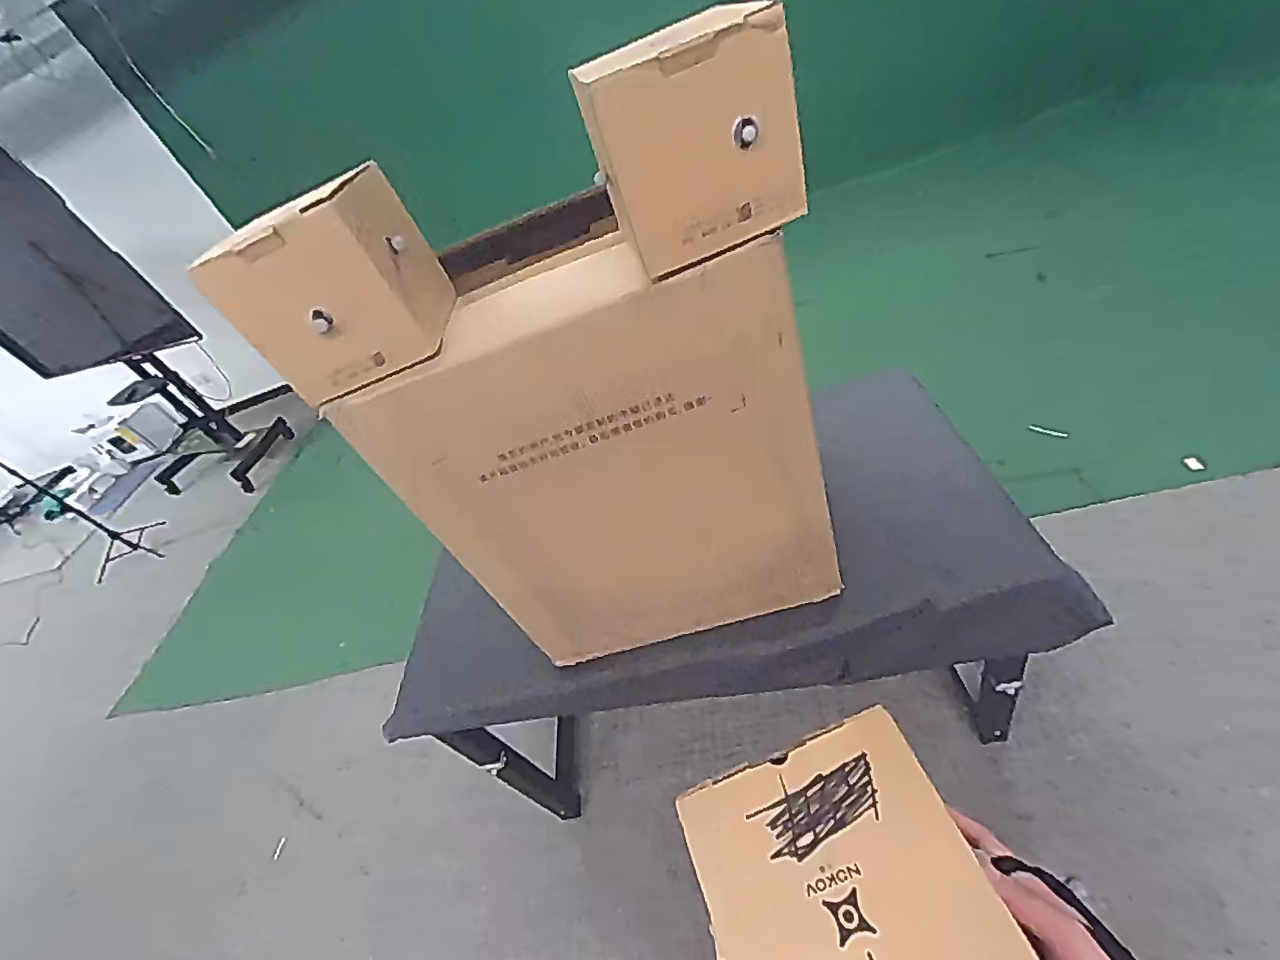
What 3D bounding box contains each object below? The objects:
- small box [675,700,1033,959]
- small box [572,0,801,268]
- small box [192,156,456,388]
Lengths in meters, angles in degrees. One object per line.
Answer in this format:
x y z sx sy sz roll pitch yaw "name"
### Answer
0.147 0.294 0.392 0.168 0.176 0.179 -27 49 5 "small box"
0.045 -0.332 0.532 0.168 0.176 0.179 -20 40 3 "small box"
-0.329 -0.225 0.609 0.168 0.176 0.179 -20 42 8 "small box"
